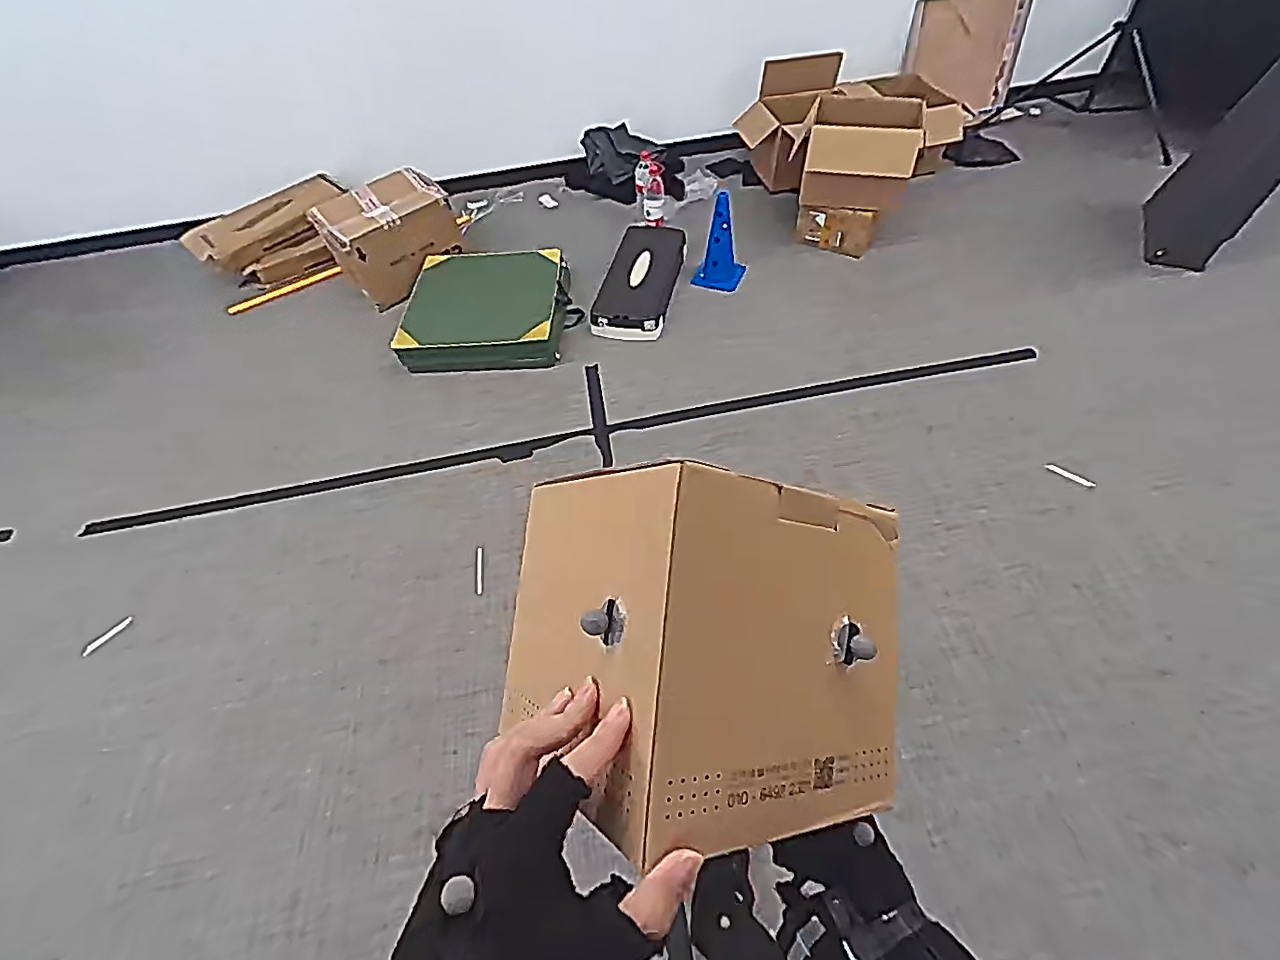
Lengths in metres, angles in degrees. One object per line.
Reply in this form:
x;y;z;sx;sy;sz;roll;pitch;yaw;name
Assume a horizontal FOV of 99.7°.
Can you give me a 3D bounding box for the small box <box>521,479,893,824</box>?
0.036;0.100;0.352;0.168;0.179;0.176;12;79;-31;small box
